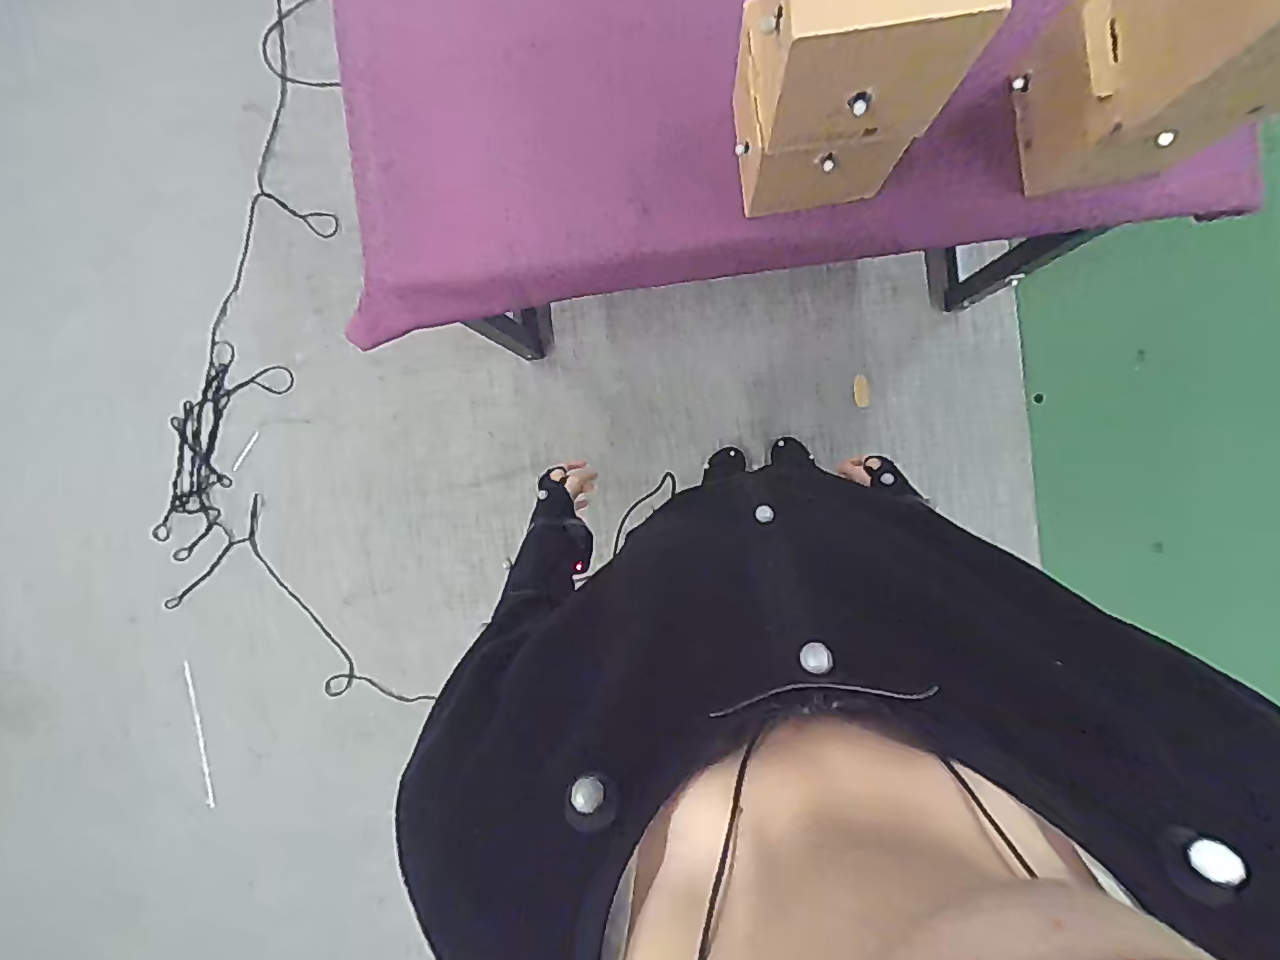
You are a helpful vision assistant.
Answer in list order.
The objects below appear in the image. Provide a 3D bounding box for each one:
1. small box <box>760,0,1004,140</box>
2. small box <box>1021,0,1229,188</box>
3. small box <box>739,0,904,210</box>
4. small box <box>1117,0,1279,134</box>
[{"bbox_3d":[0.205,-0.445,0.499,0.168,0.176,0.179,-3,92,6],"label":"small box"},{"bbox_3d":[0.573,-0.465,0.621,0.179,0.176,0.168,-8,92,6],"label":"small box"},{"bbox_3d":[0.216,-0.456,0.662,0.179,0.176,0.168,-5,91,6],"label":"small box"},{"bbox_3d":[0.555,-0.439,0.459,0.168,0.176,0.179,-5,91,7],"label":"small box"}]
